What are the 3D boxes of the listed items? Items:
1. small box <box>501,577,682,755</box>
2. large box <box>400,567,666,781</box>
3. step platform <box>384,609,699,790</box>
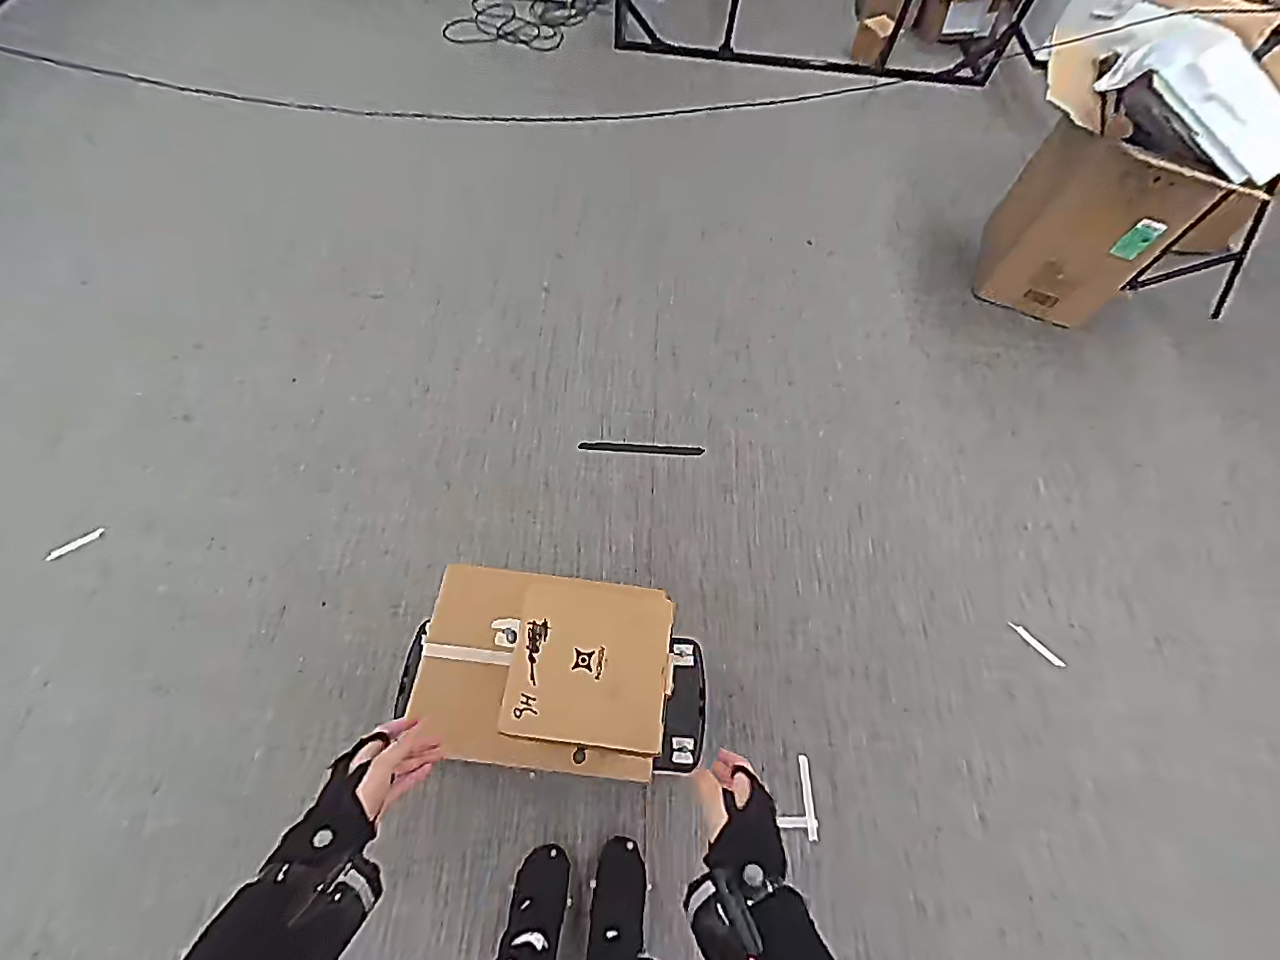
[{"bbox_3d":[-0.055,0.234,0.662,0.179,0.176,0.168,9,61,-1],"label":"small box"},{"bbox_3d":[-0.169,0.380,1.039,0.408,0.320,0.320,7,61,0],"label":"large box"},{"bbox_3d":[-0.207,0.500,1.242,0.684,0.204,0.286,9,62,1],"label":"step platform"}]
